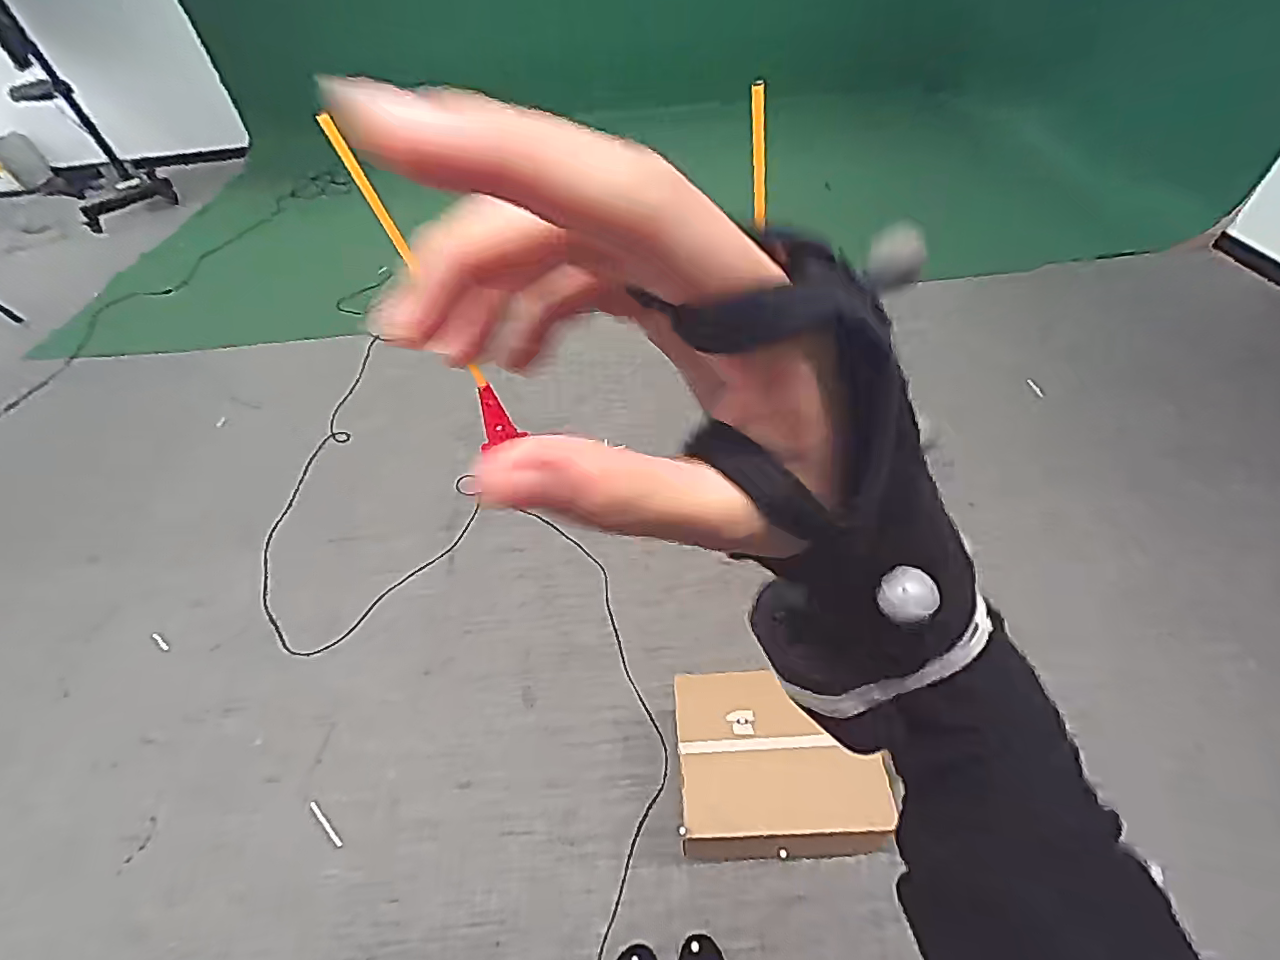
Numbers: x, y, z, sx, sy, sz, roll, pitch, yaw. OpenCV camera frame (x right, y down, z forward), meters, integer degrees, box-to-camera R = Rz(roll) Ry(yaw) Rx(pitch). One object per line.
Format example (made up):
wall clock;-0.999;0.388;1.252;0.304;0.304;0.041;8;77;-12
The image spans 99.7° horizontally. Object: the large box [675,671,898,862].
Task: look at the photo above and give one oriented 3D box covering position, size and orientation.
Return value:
large box;0.294;0.652;1.219;0.408;0.320;0.320;-4;48;3
